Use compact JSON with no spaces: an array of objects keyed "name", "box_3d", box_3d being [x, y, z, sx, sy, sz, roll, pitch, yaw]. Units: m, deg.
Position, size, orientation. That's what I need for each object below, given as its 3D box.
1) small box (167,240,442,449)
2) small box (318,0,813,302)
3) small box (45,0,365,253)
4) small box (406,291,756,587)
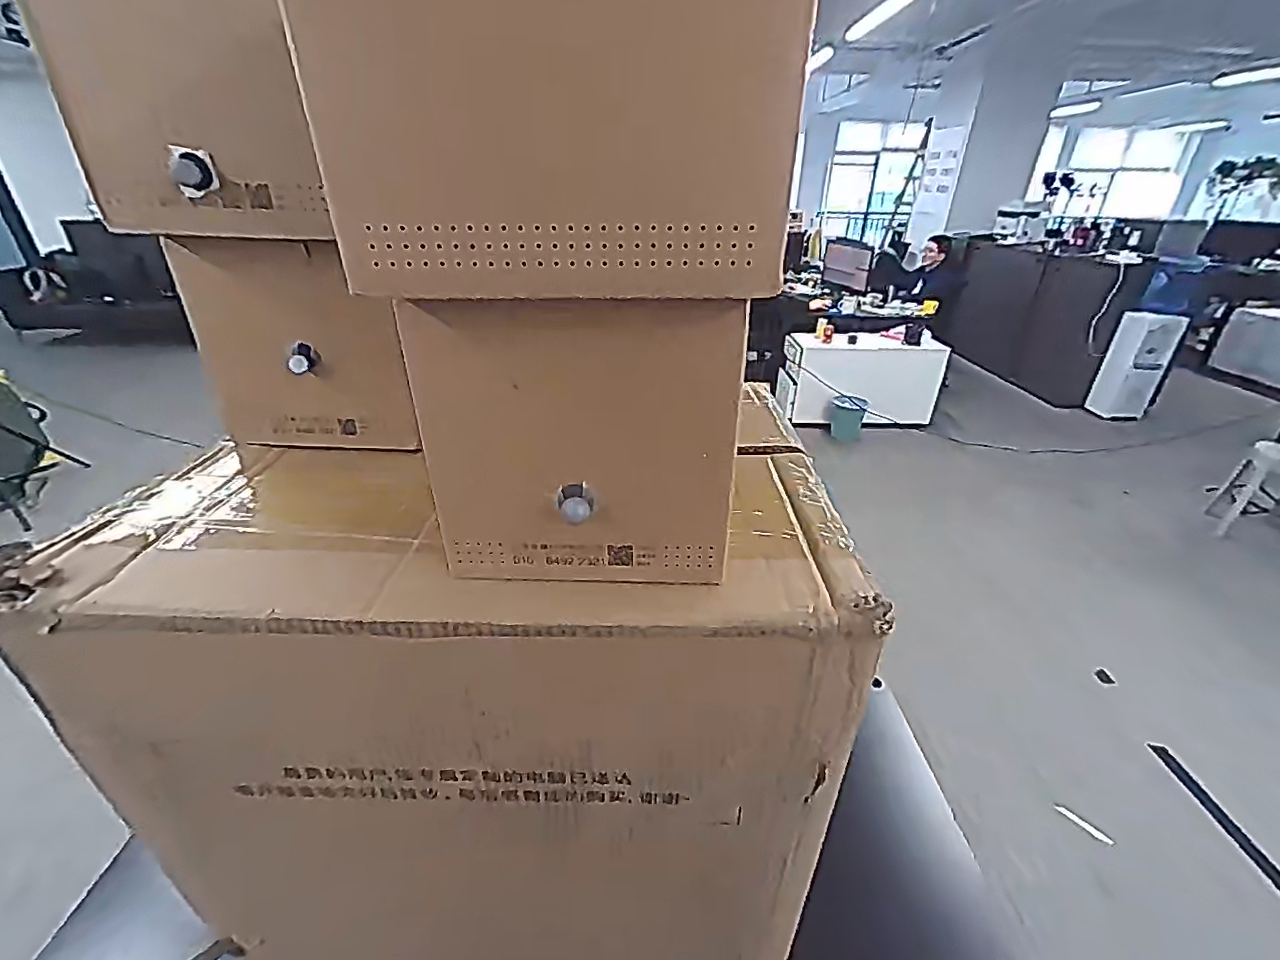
[{"name":"small box","box_3d":[-0.258,-0.137,0.496,0.168,0.176,0.179,2,29,-1]},{"name":"small box","box_3d":[-0.027,-0.181,0.249,0.179,0.176,0.168,0,29,-2]},{"name":"small box","box_3d":[-0.257,-0.265,0.388,0.168,0.176,0.179,-1,29,-3]},{"name":"small box","box_3d":[-0.025,-0.052,0.355,0.168,0.176,0.179,1,29,2]}]
